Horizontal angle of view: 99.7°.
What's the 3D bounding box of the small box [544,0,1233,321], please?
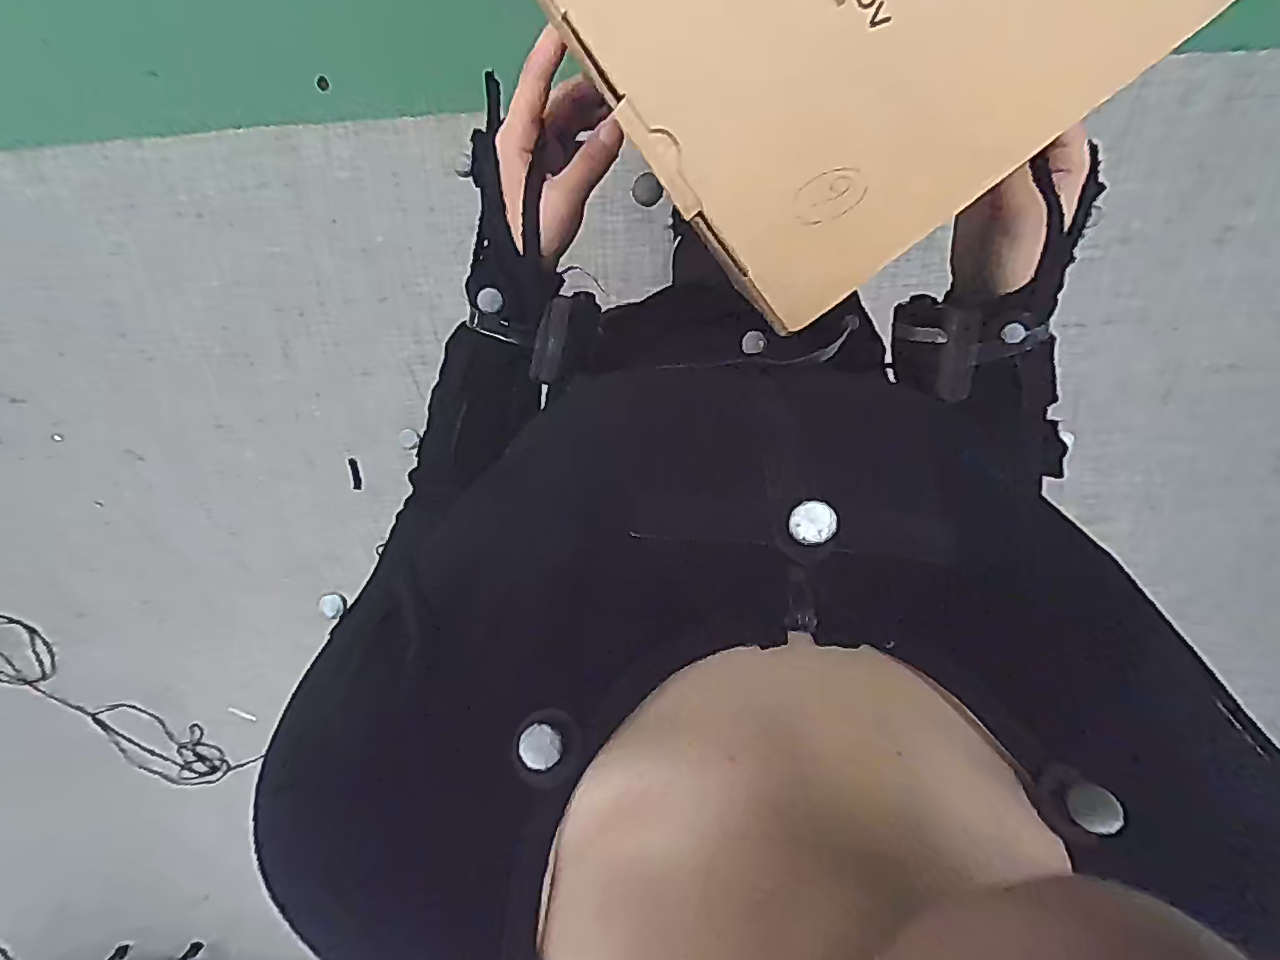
[{"bbox_3d":[0.079,-0.199,0.237,0.179,0.176,0.168,-36,108,19],"label":"small box"}]
